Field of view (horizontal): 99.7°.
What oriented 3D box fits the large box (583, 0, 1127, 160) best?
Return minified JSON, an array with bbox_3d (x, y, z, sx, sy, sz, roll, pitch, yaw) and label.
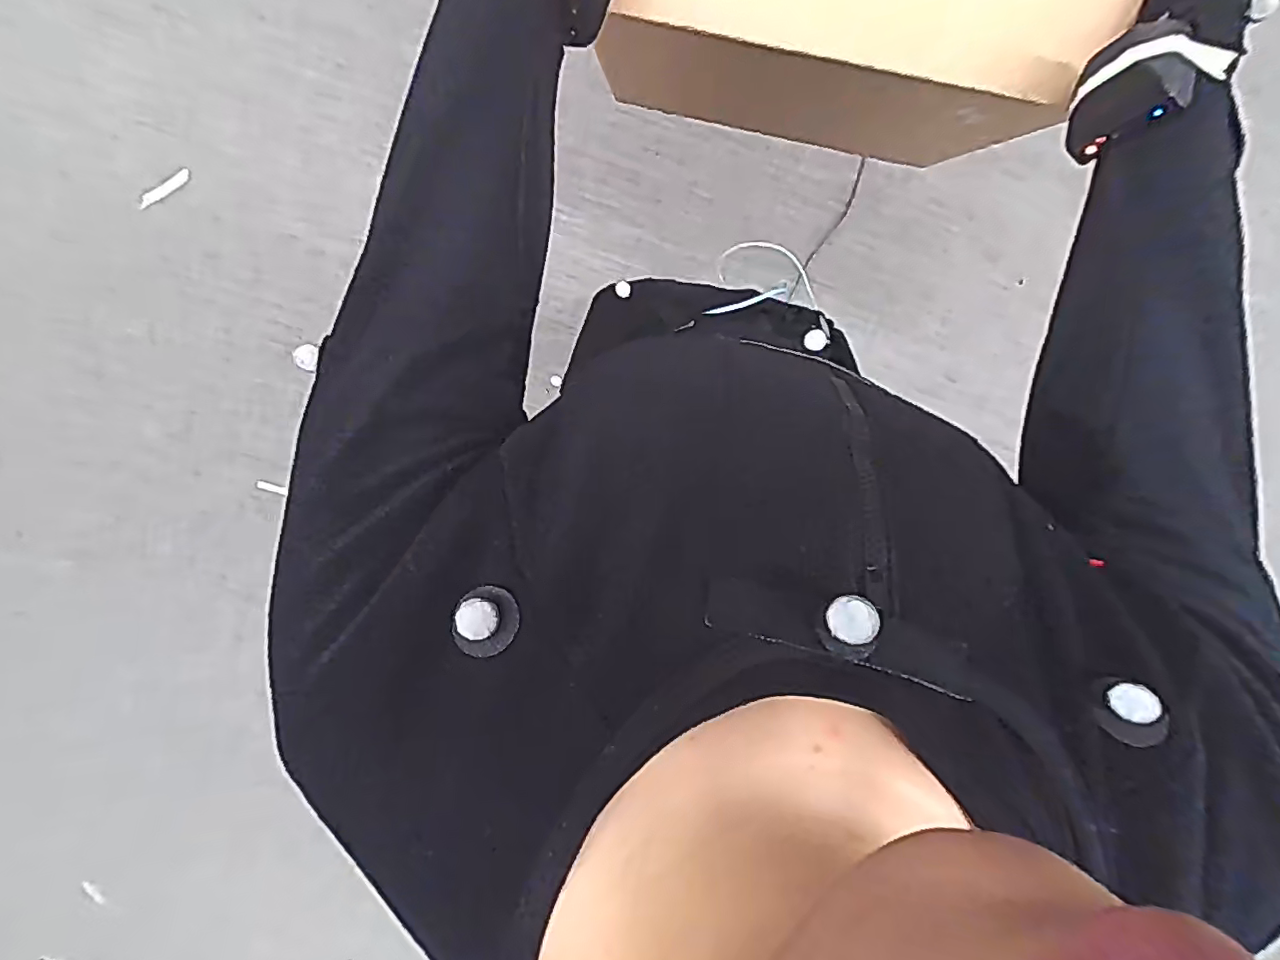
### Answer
[{"bbox_3d":[0.181,-0.520,0.489,0.408,0.320,0.320,11,115,-2],"label":"large box"}]
